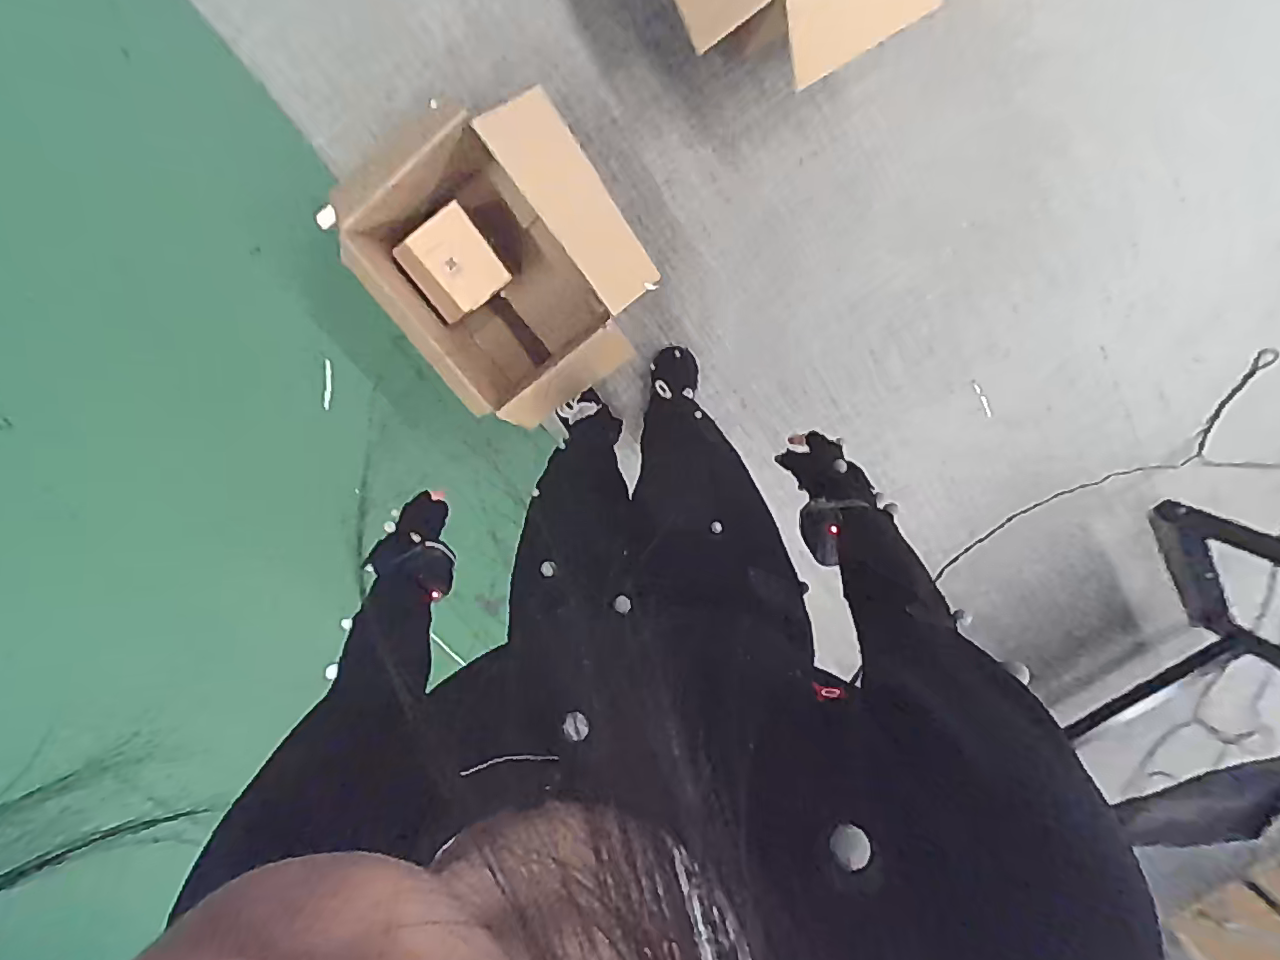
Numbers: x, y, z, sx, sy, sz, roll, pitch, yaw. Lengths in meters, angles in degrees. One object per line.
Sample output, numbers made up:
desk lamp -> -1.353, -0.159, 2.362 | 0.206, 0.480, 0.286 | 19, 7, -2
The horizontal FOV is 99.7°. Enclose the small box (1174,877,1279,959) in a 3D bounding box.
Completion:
small box -> 1.235, 0.942, 1.073 | 0.168, 0.176, 0.179 | -39, 109, 6
